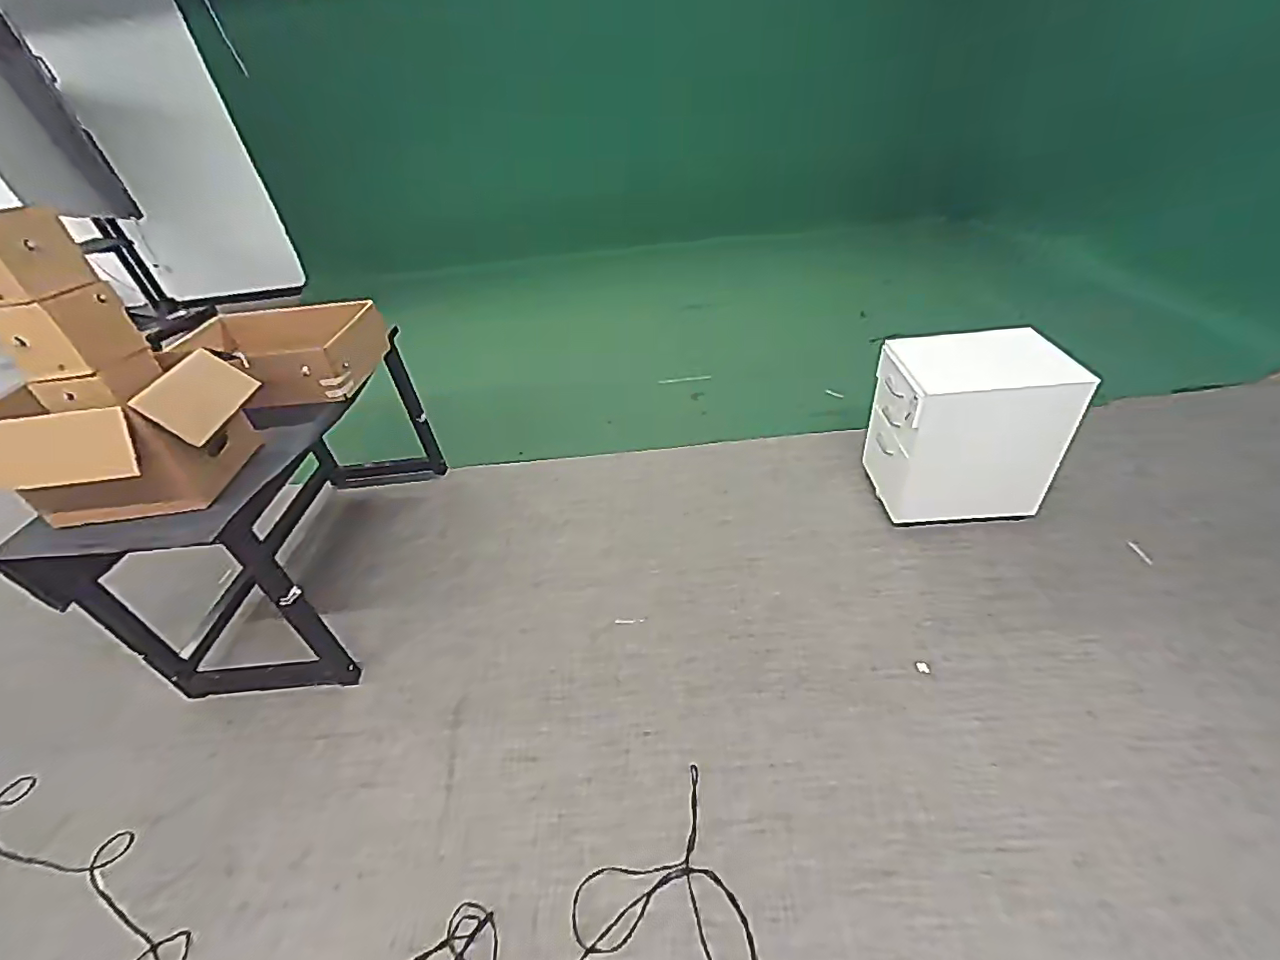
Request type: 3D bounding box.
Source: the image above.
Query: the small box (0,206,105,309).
[{"bbox_3d":[-1.339,-0.474,1.164,0.168,0.176,0.179,-6,34,6],"label":"small box"}]

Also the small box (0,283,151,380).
[{"bbox_3d":[-1.314,-0.341,1.257,0.168,0.176,0.179,-6,34,5],"label":"small box"}]
